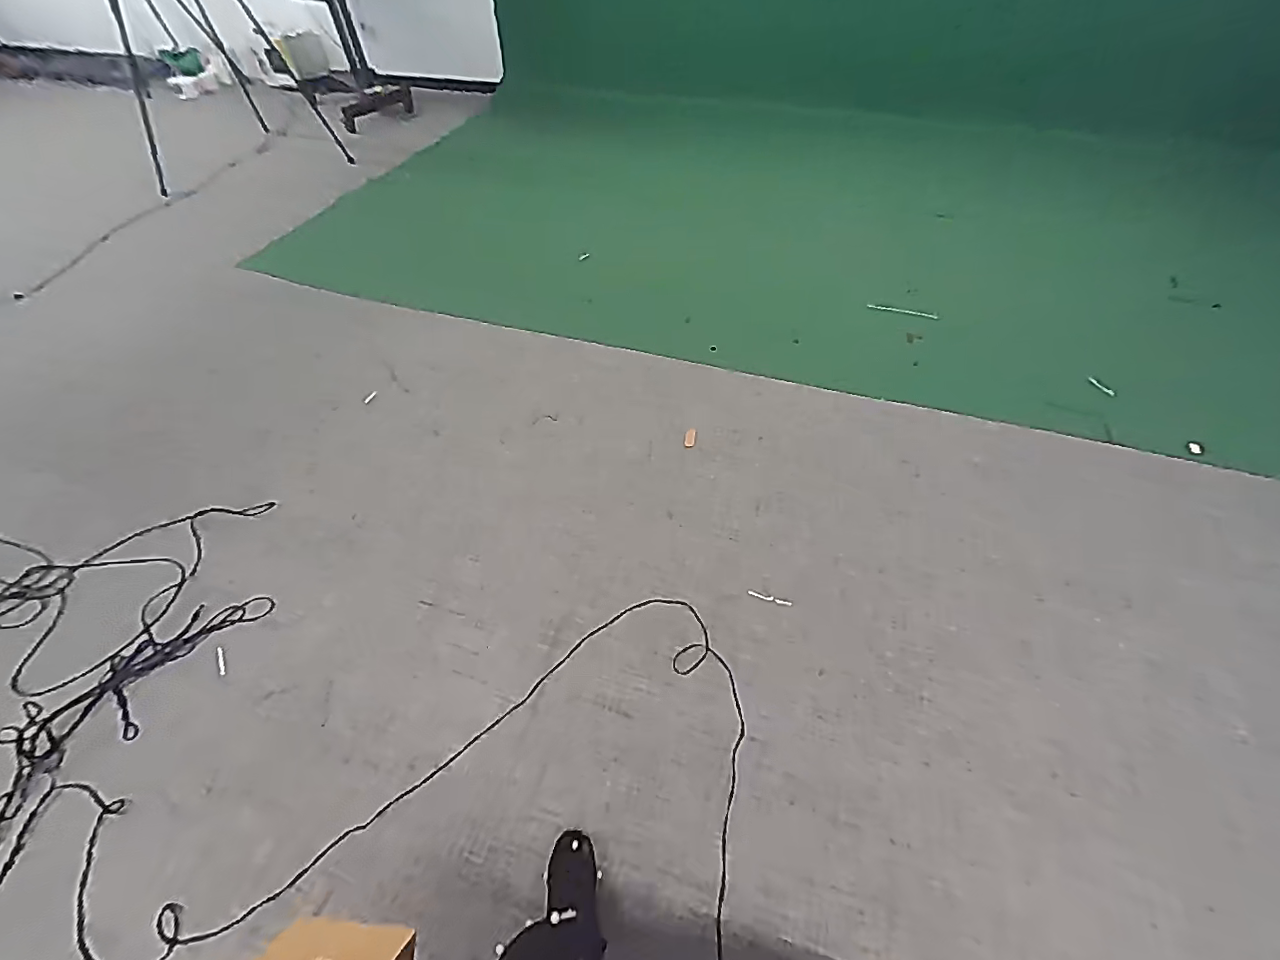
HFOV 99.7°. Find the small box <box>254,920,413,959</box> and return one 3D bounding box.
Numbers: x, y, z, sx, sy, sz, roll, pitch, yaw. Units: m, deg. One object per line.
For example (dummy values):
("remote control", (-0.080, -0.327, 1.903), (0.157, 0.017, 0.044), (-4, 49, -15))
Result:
("small box", (-0.390, 0.663, 0.623), (0.168, 0.179, 0.176), (2, 82, 5))
